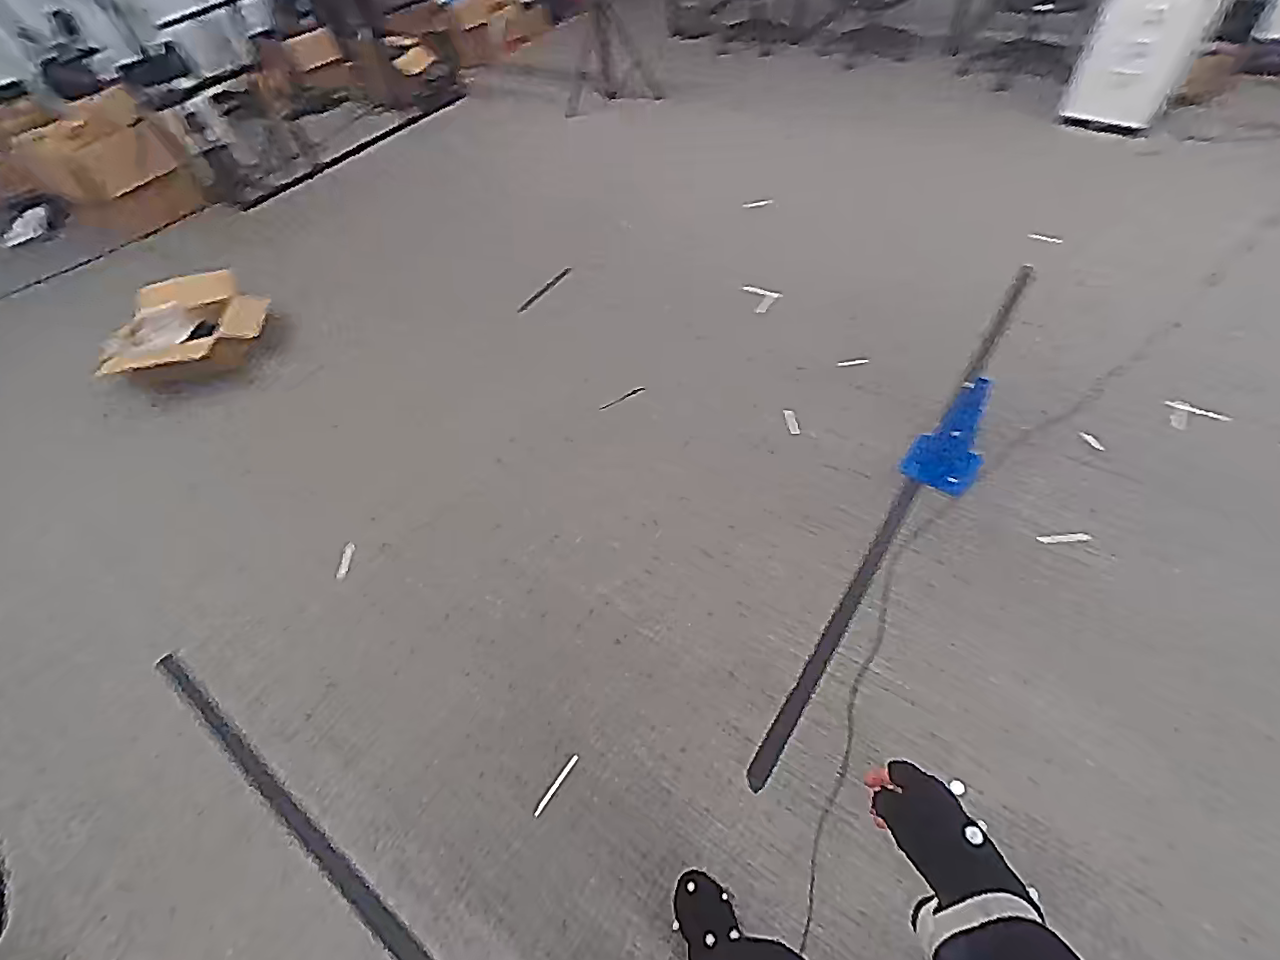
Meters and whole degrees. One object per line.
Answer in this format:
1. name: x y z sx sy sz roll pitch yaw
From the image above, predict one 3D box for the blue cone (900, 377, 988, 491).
1. blue cone: 0.941 -0.160 1.606 0.193 0.380 0.192 30 61 26
